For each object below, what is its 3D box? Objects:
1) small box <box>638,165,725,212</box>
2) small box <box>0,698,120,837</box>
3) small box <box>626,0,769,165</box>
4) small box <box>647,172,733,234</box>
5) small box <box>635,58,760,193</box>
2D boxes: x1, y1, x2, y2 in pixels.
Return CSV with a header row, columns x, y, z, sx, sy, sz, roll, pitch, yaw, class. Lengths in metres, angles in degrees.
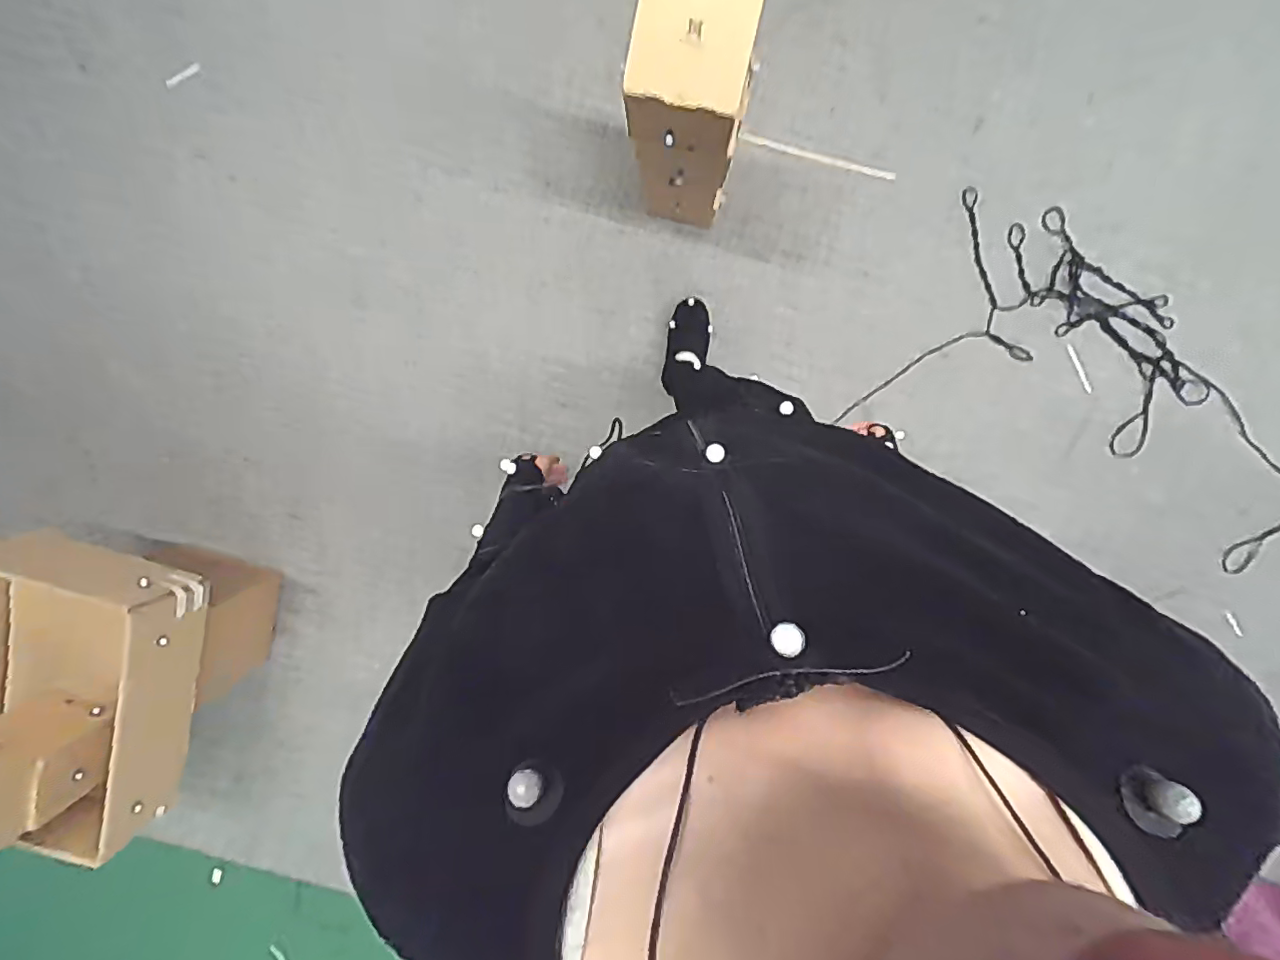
x,y,z,sx,sy,sz,roll,pitch,yaw,class
0.105,-0.682,1.127,0.179,0.176,0.168,15,101,0,small box
-1.263,0.595,1.143,0.168,0.176,0.179,18,101,-1,small box
0.081,-0.610,0.808,0.168,0.176,0.179,13,102,2,small box
0.123,-0.707,1.288,0.179,0.176,0.168,15,100,0,small box
0.097,-0.639,0.969,0.179,0.176,0.168,13,100,0,small box
